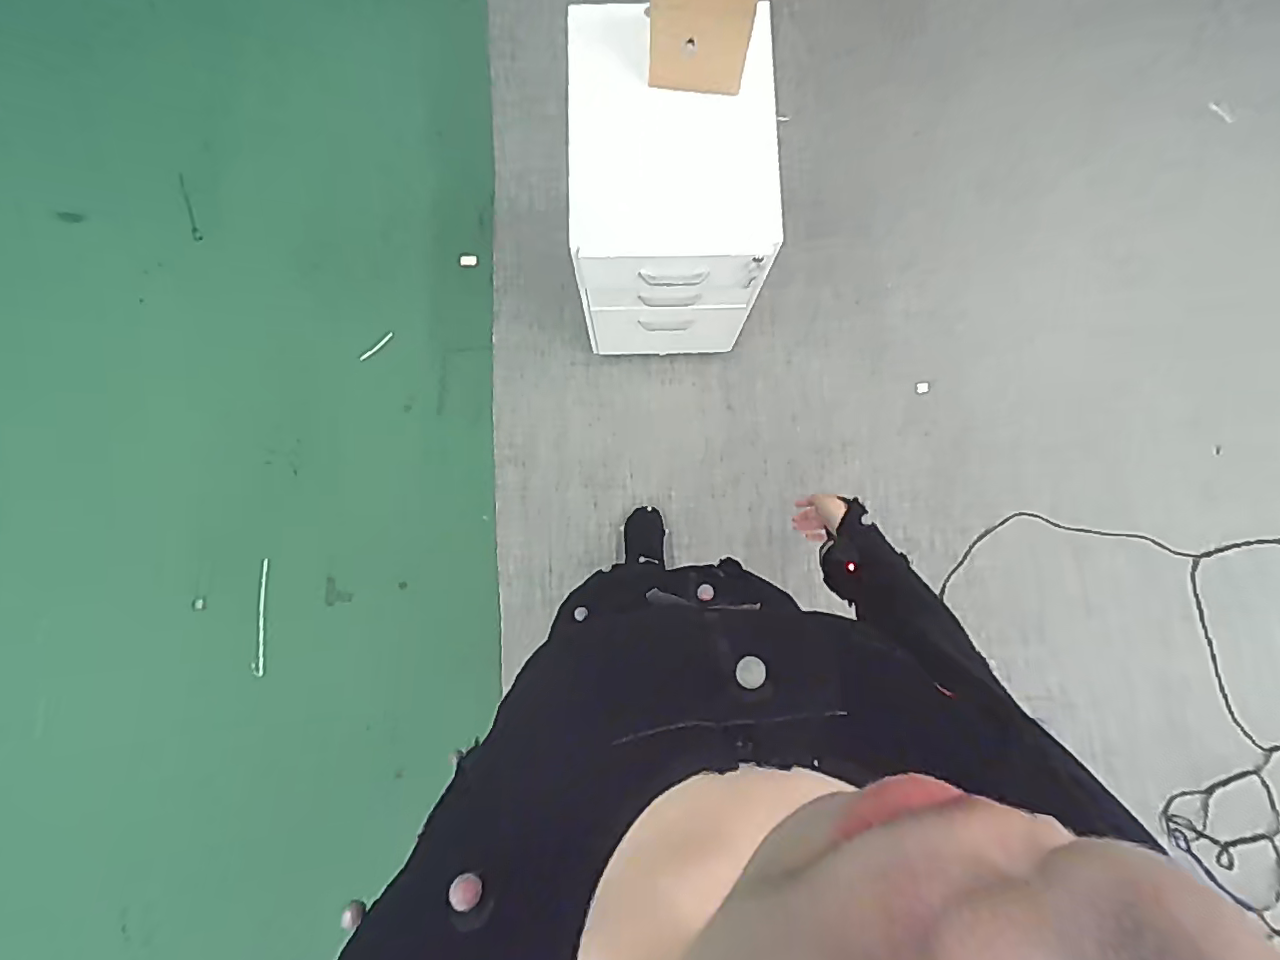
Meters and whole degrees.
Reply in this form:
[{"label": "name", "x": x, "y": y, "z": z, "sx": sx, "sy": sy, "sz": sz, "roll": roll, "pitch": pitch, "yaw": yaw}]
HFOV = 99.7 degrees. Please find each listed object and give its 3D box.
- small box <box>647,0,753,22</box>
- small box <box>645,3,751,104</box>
[{"label": "small box", "x": 0.101, "y": -0.838, "z": 0.811, "sx": 0.179, "sy": 0.176, "sz": 0.168, "roll": 5, "pitch": 82, "yaw": 0}, {"label": "small box", "x": 0.104, "y": -0.819, "z": 0.973, "sx": 0.179, "sy": 0.176, "sz": 0.168, "roll": 6, "pitch": 83, "yaw": 1}]
